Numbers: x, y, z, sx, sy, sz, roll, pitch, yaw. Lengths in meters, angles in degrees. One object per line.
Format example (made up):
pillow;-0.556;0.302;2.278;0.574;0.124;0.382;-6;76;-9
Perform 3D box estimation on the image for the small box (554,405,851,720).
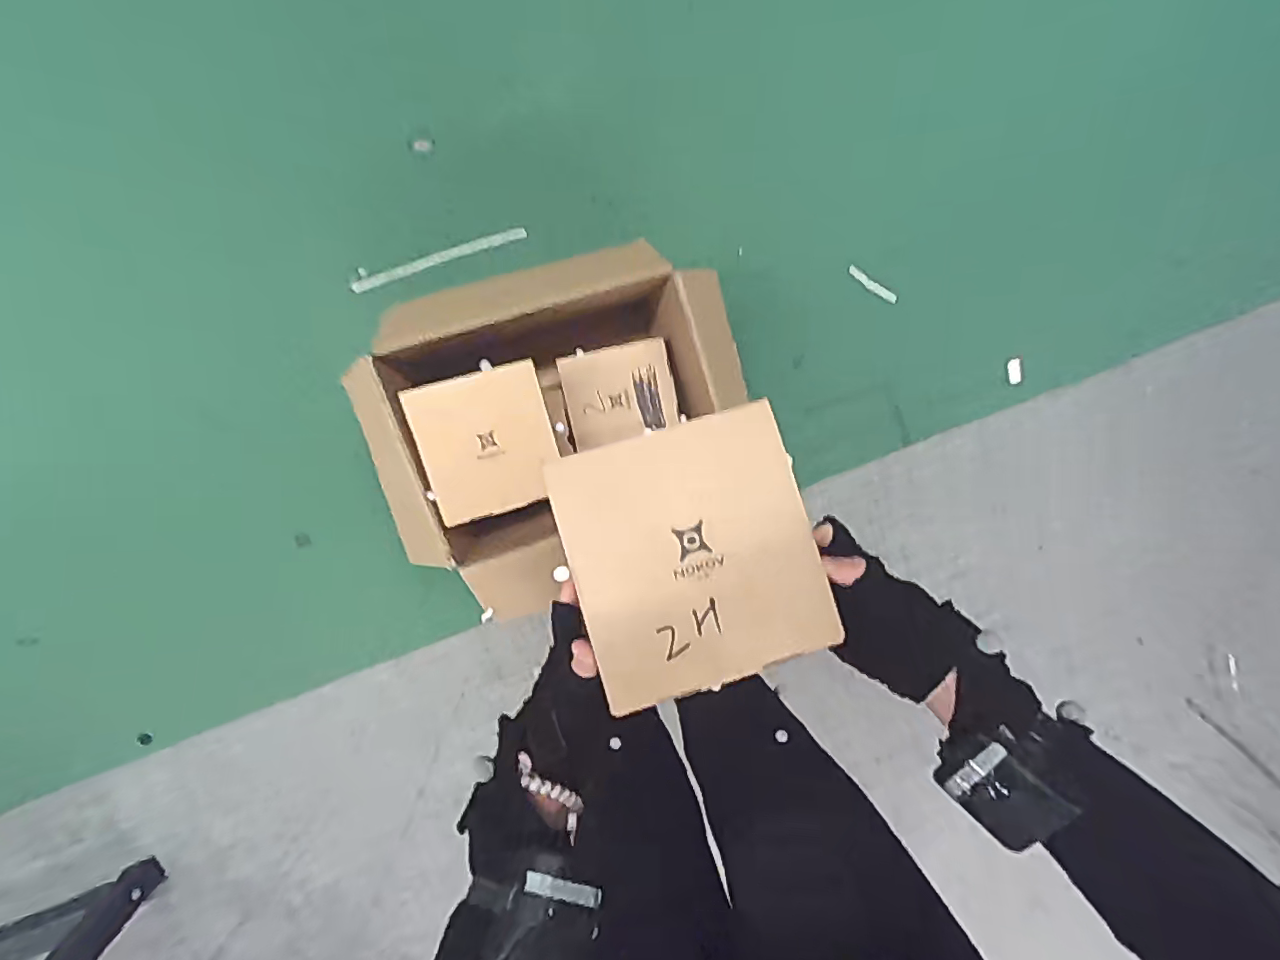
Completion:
small box;0.035;0.058;0.437;0.168;0.176;0.179;-16;87;-5
